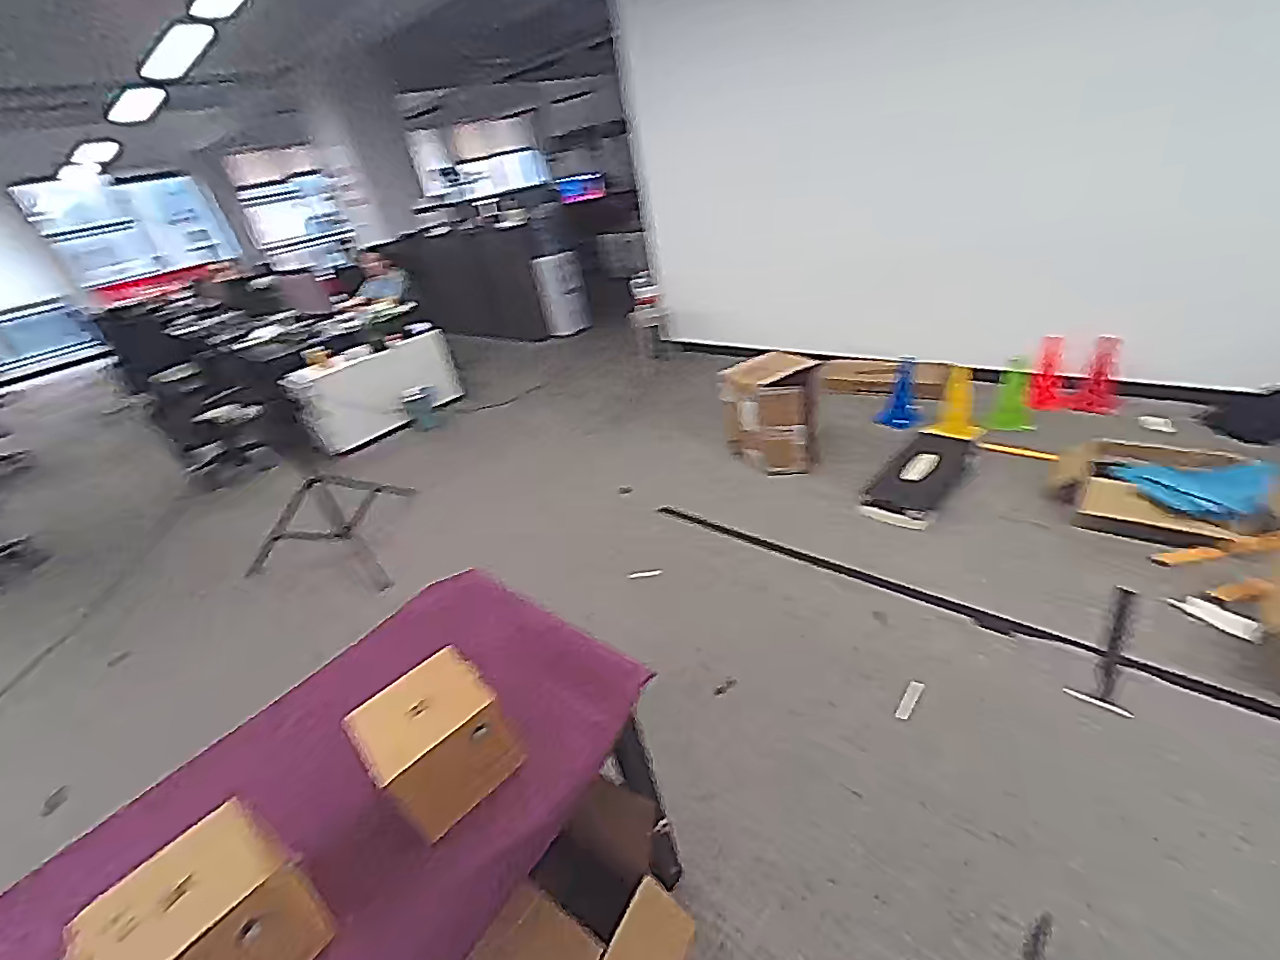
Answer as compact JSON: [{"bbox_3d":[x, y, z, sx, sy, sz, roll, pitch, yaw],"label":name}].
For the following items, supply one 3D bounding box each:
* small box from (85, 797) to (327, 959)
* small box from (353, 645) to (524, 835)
[{"bbox_3d":[-0.531,0.561,0.683,0.168,0.176,0.179,14,39,39],"label":"small box"},{"bbox_3d":[-0.313,0.410,0.859,0.179,0.176,0.168,-33,37,-31],"label":"small box"}]
